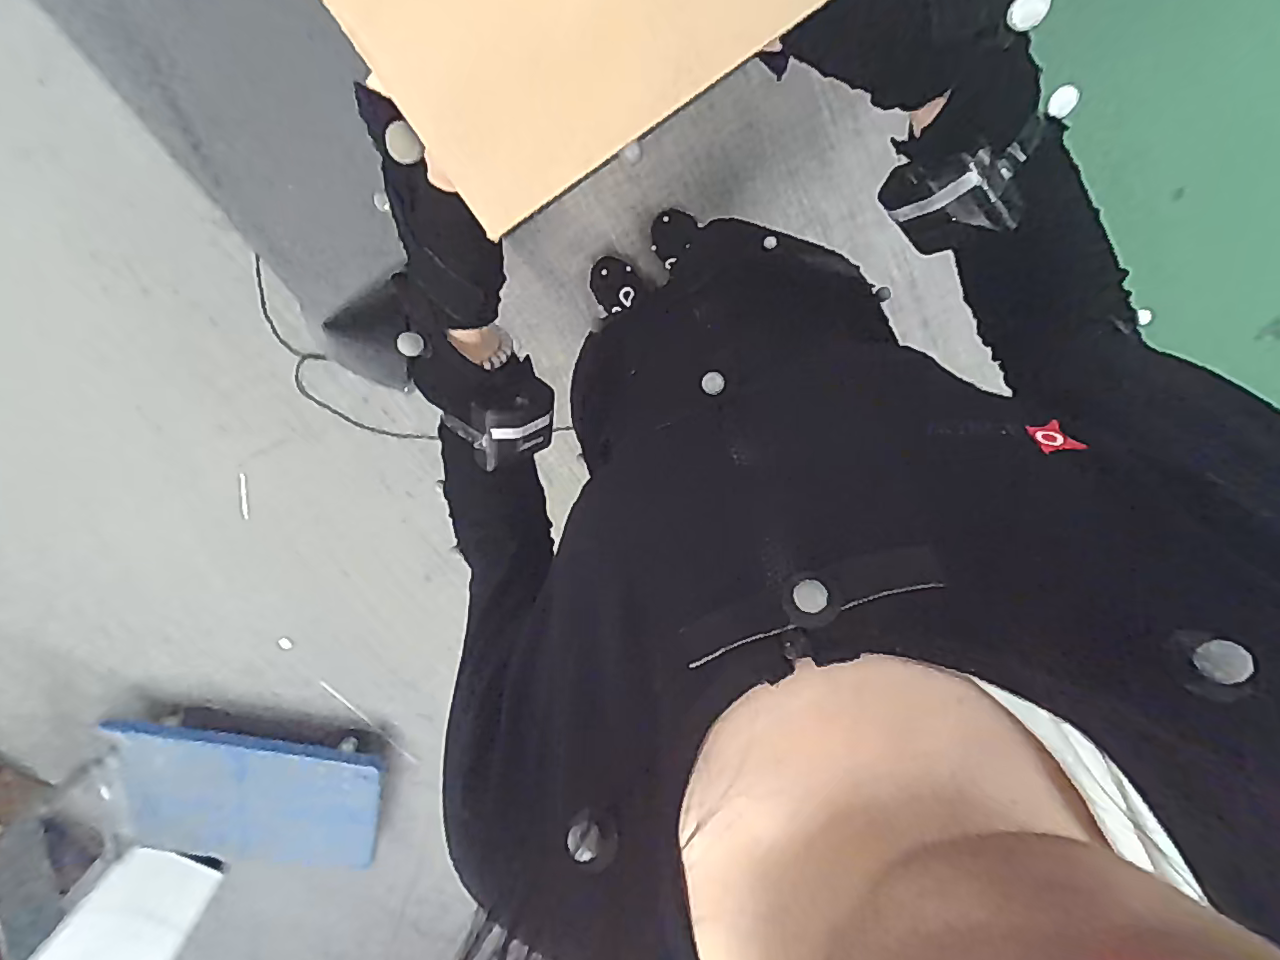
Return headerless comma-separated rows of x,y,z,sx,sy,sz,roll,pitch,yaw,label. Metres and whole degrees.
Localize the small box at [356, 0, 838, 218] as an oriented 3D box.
-0.041,-0.244,0.226,0.168,0.176,0.179,-31,122,7,small box
